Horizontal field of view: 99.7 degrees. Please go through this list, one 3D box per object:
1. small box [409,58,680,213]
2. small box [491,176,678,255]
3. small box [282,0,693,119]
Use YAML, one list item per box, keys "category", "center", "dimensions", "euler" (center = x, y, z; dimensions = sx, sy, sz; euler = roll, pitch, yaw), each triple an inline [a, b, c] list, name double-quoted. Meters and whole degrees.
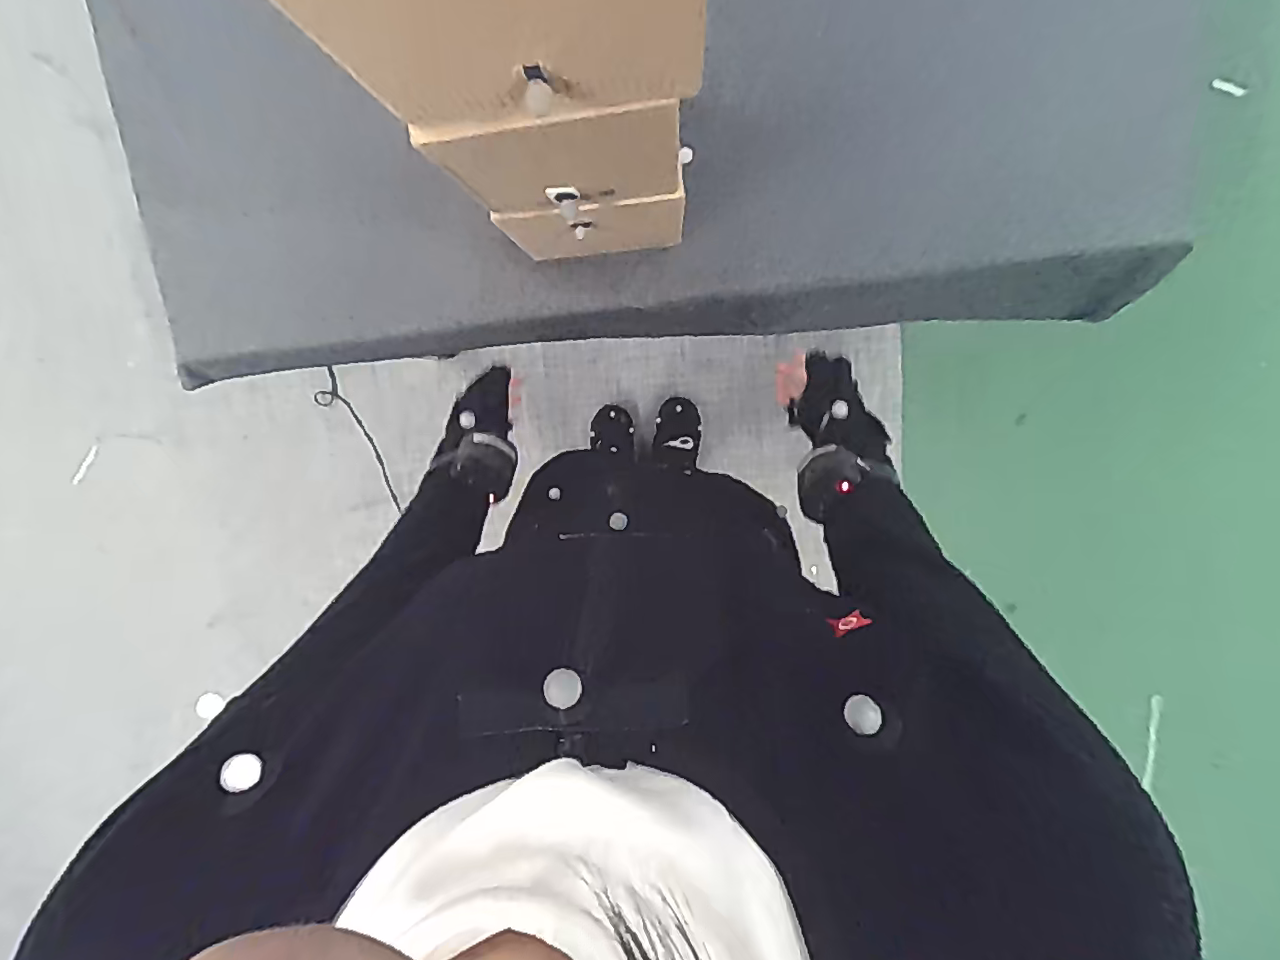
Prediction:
- category: "small box"
  center: [-0.062, -0.316, 0.387]
  dimensions: [0.168, 0.176, 0.179]
  euler: [-6, 101, 6]
- category: "small box"
  center: [-0.052, -0.343, 0.563]
  dimensions: [0.179, 0.176, 0.168]
  euler: [-5, 101, 4]
- category: "small box"
  center: [-0.066, -0.285, 0.226]
  dimensions: [0.179, 0.176, 0.168]
  euler: [-4, 100, 5]
